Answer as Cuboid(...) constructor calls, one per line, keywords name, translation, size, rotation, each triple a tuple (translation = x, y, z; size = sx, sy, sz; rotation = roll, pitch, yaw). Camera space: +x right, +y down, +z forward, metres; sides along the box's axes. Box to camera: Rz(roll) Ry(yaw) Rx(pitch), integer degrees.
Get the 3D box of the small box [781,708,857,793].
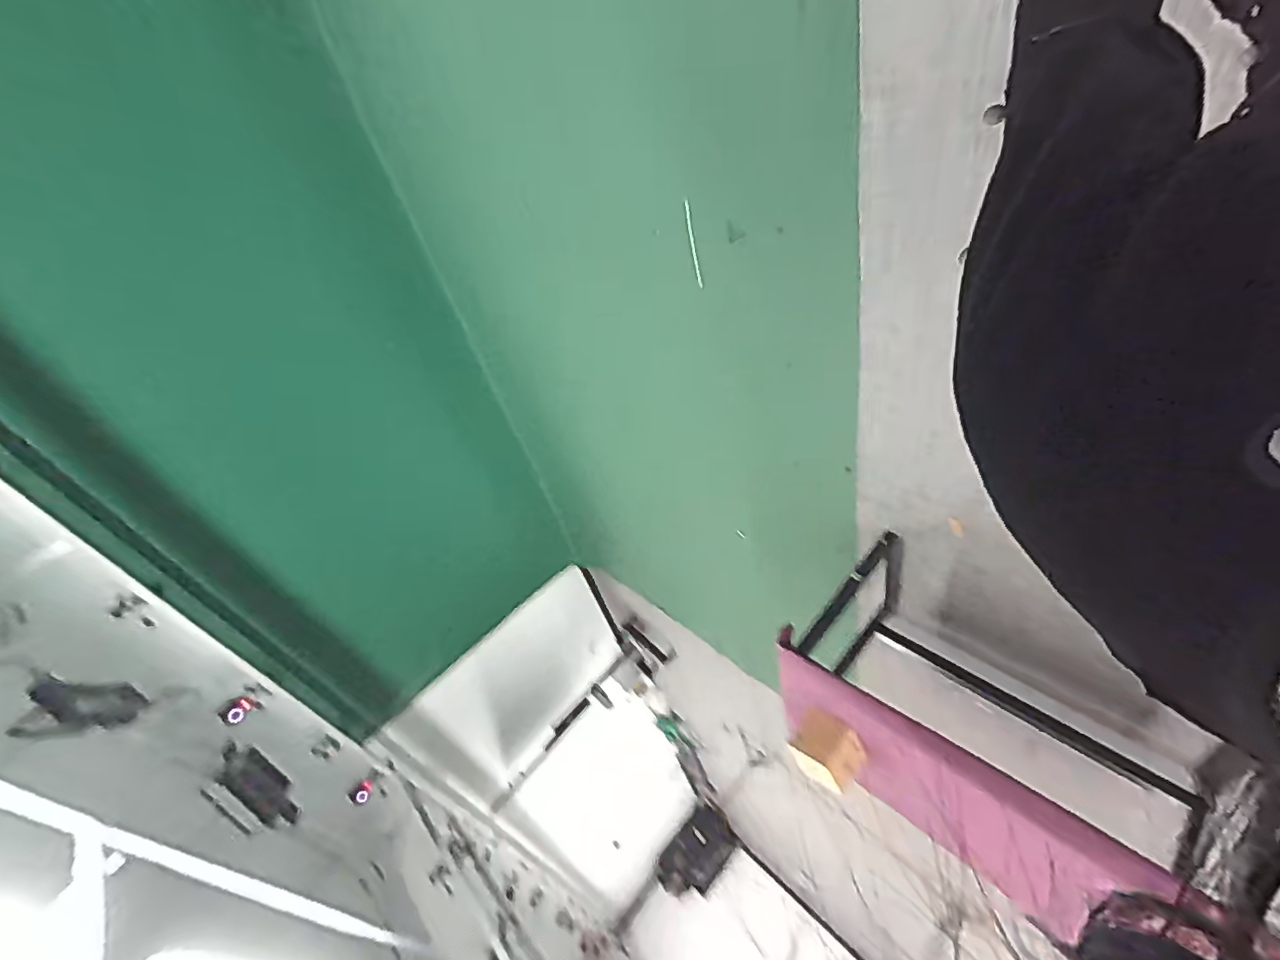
Cuboid(name="small box", translation=(0.630, 0.930, 1.880), size=(0.179, 0.176, 0.168), rotation=(8, 133, 55))
